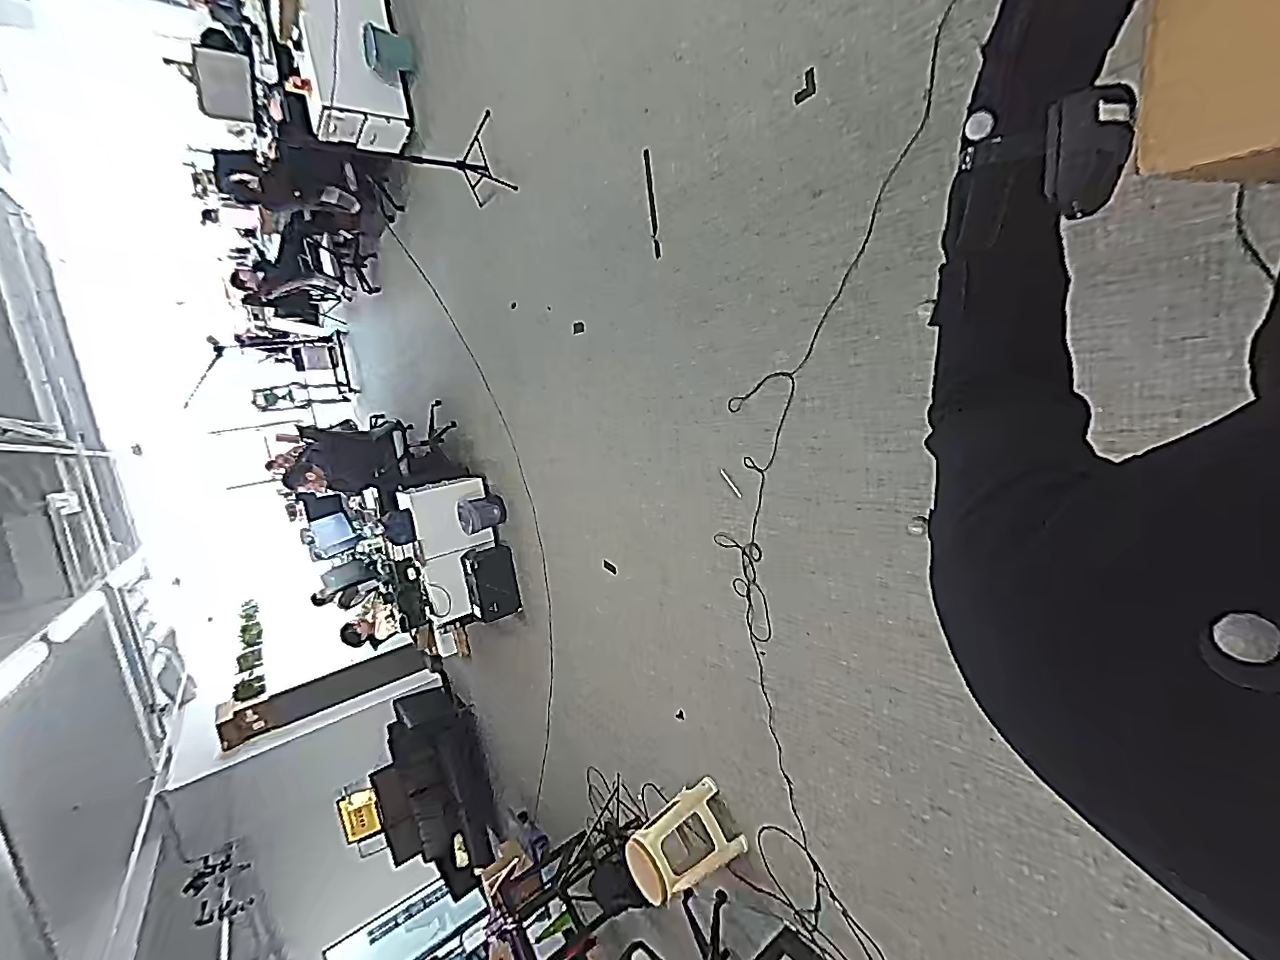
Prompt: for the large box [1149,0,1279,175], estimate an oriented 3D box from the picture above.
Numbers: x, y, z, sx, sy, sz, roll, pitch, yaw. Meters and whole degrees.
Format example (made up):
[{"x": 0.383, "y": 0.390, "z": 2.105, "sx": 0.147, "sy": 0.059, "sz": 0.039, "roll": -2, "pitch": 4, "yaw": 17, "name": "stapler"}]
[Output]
[{"x": 0.502, "y": -0.346, "z": 0.192, "sx": 0.408, "sy": 0.320, "sz": 0.320, "roll": 13, "pitch": 117, "yaw": 57, "name": "large box"}]
